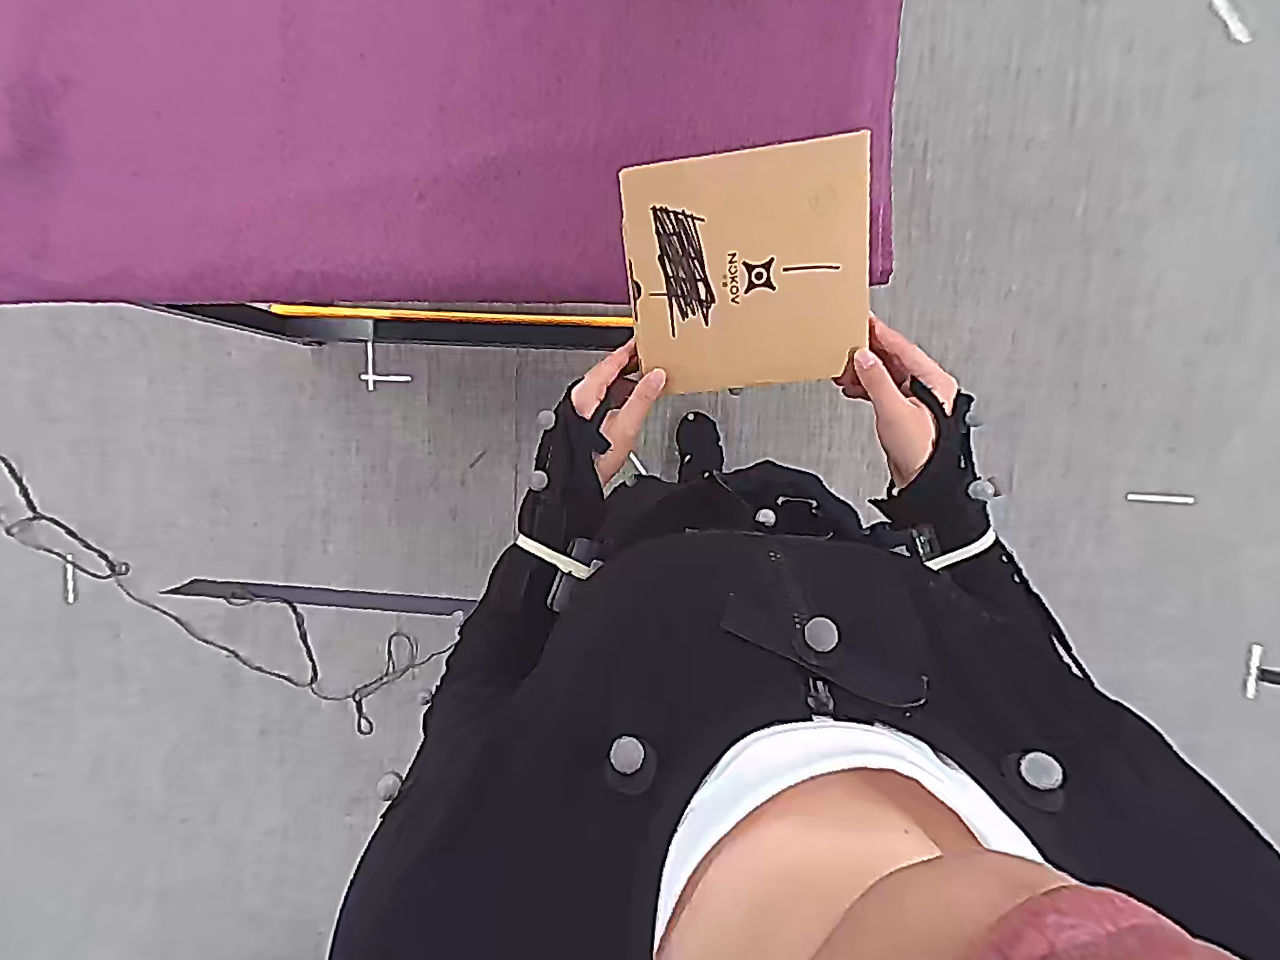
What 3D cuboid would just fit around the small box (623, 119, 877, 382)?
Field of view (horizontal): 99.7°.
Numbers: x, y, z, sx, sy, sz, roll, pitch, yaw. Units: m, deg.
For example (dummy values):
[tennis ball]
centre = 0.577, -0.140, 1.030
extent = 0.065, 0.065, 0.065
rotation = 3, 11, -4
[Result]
[small box]
centre = 0.092, -0.183, 0.471
extent = 0.179, 0.176, 0.168
rotation = -4, 108, 9
